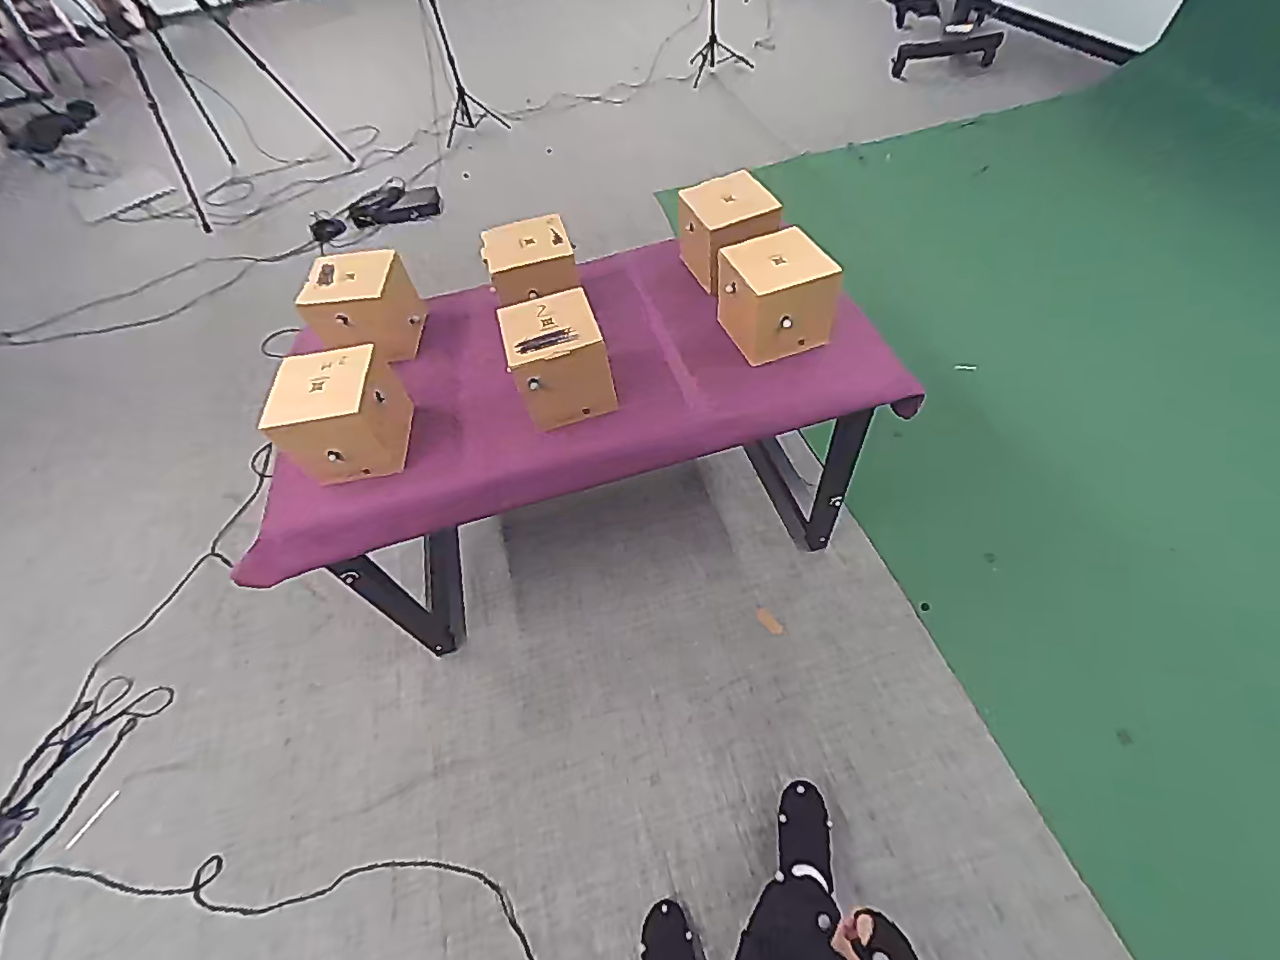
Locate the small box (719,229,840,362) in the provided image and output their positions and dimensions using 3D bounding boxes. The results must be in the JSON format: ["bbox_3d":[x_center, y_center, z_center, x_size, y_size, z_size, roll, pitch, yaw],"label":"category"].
[{"bbox_3d":[0.264,-0.353,1.058,0.168,0.176,0.179,-19,52,-6],"label":"small box"}]

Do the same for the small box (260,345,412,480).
[{"bbox_3d":[-0.534,-0.113,0.980,0.168,0.176,0.179,-9,54,0],"label":"small box"}]

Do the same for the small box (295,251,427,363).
[{"bbox_3d":[-0.590,-0.366,1.168,0.179,0.176,0.168,-5,55,2],"label":"small box"}]

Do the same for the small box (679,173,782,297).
[{"bbox_3d":[0.194,-0.542,1.204,0.168,0.176,0.179,-20,56,-6],"label":"small box"}]

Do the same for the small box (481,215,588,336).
[{"bbox_3d":[-0.227,-0.440,1.181,0.179,0.176,0.168,-17,56,-4],"label":"small box"}]
